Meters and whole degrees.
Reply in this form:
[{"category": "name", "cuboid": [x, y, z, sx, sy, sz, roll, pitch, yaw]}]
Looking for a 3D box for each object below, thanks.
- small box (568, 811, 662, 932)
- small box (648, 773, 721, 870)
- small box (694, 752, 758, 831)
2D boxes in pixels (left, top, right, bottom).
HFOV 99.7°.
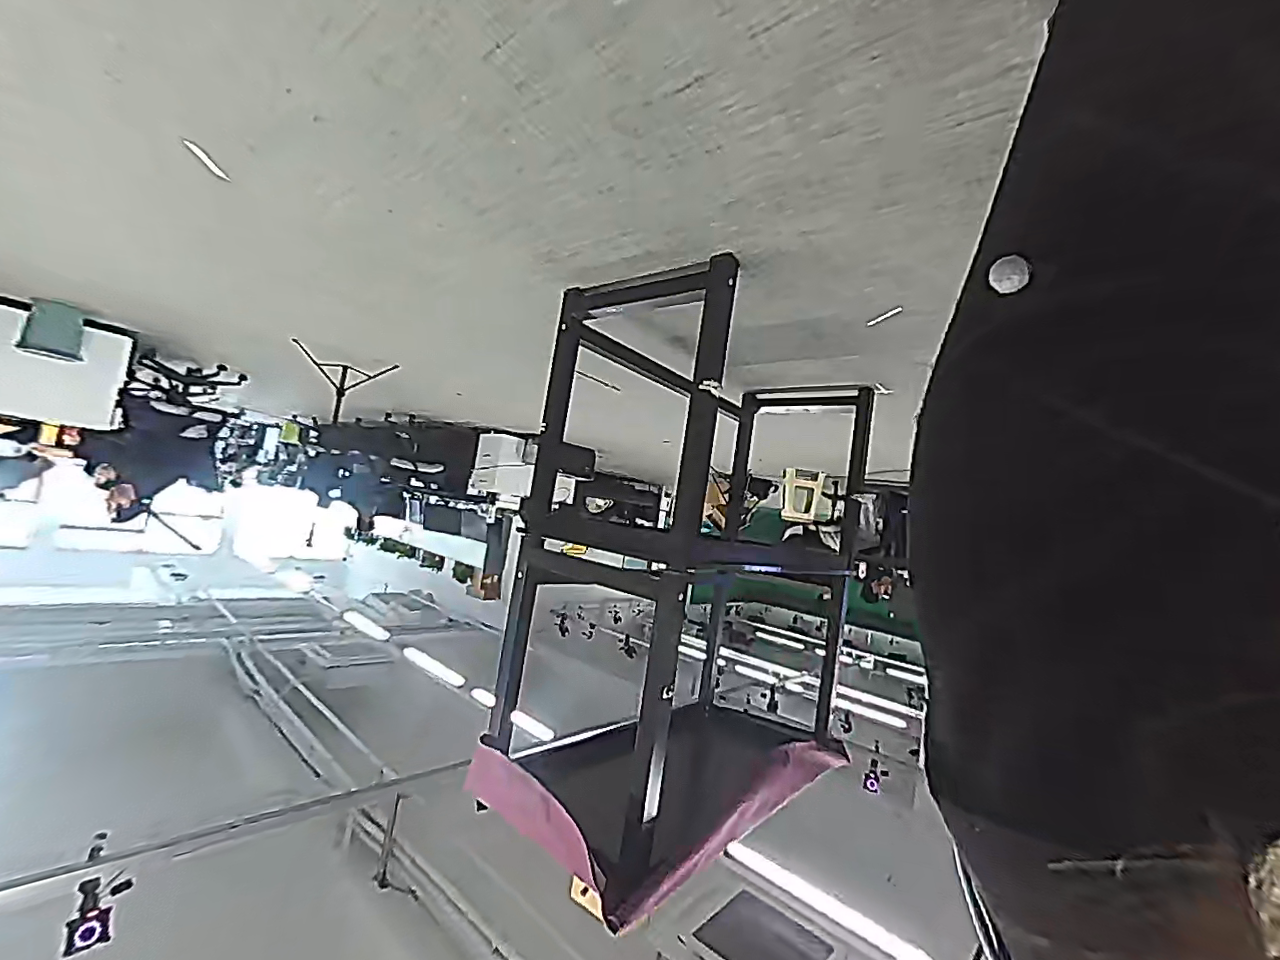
[{"category": "small box", "cuboid": [-0.060, 1.002, 1.407, 0.179, 0.176, 0.168, 6, 177, 36]}, {"category": "small box", "cuboid": [0.136, 1.045, 1.671, 0.179, 0.176, 0.168, 6, 176, 45]}, {"category": "small box", "cuboid": [0.293, 1.080, 1.892, 0.168, 0.176, 0.179, 6, 176, 43]}]
